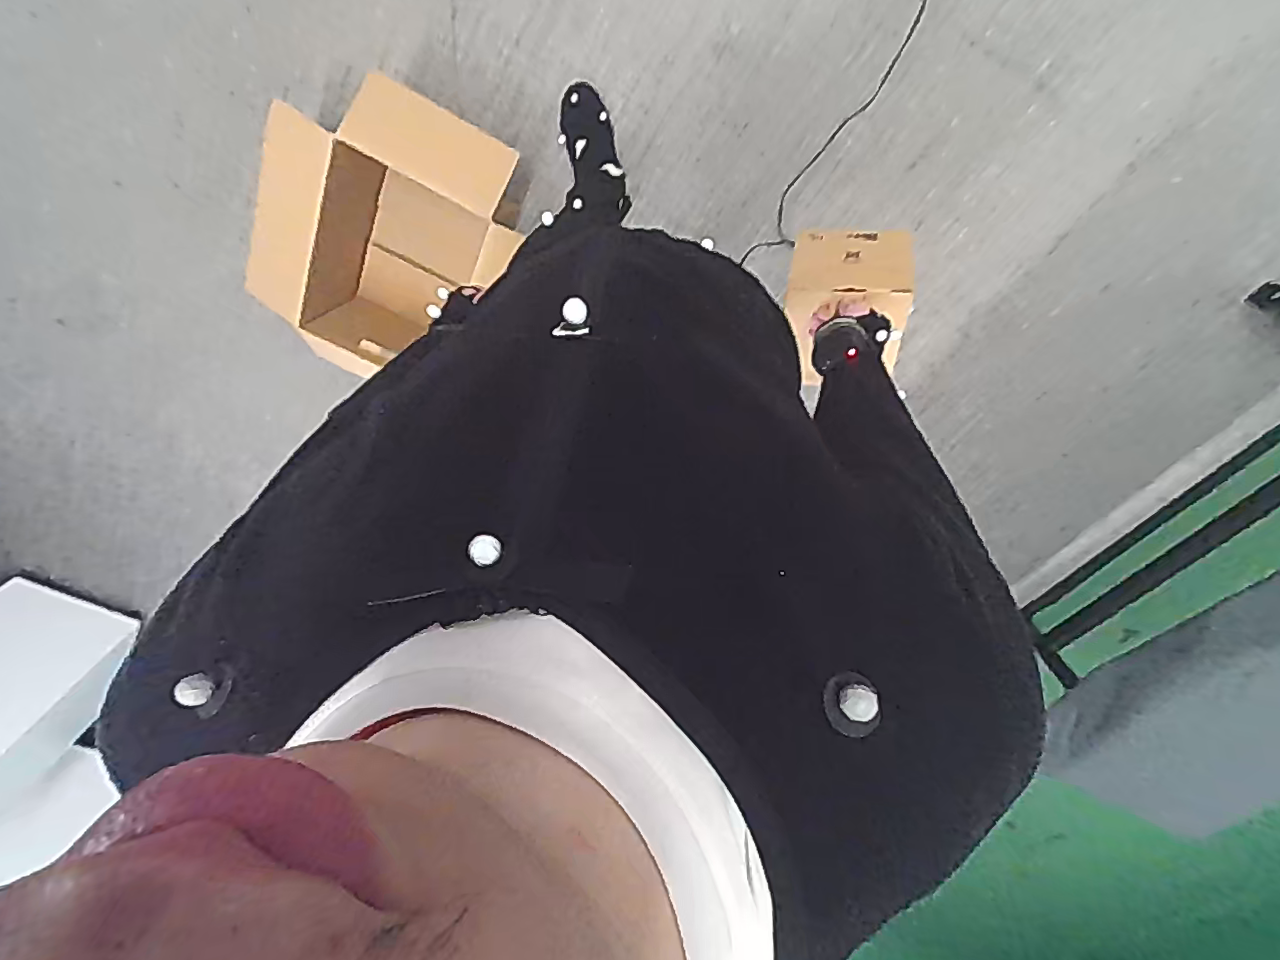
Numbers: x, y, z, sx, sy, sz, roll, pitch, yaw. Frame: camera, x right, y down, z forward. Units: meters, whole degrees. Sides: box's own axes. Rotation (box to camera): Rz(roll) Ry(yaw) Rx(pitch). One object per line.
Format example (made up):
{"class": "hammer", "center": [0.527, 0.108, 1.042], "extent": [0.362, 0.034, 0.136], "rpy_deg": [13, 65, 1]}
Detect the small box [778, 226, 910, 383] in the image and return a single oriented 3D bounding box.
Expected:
{"class": "small box", "center": [0.309, -0.270, 0.836], "extent": [0.168, 0.179, 0.176], "rpy_deg": [8, 141, 15]}
